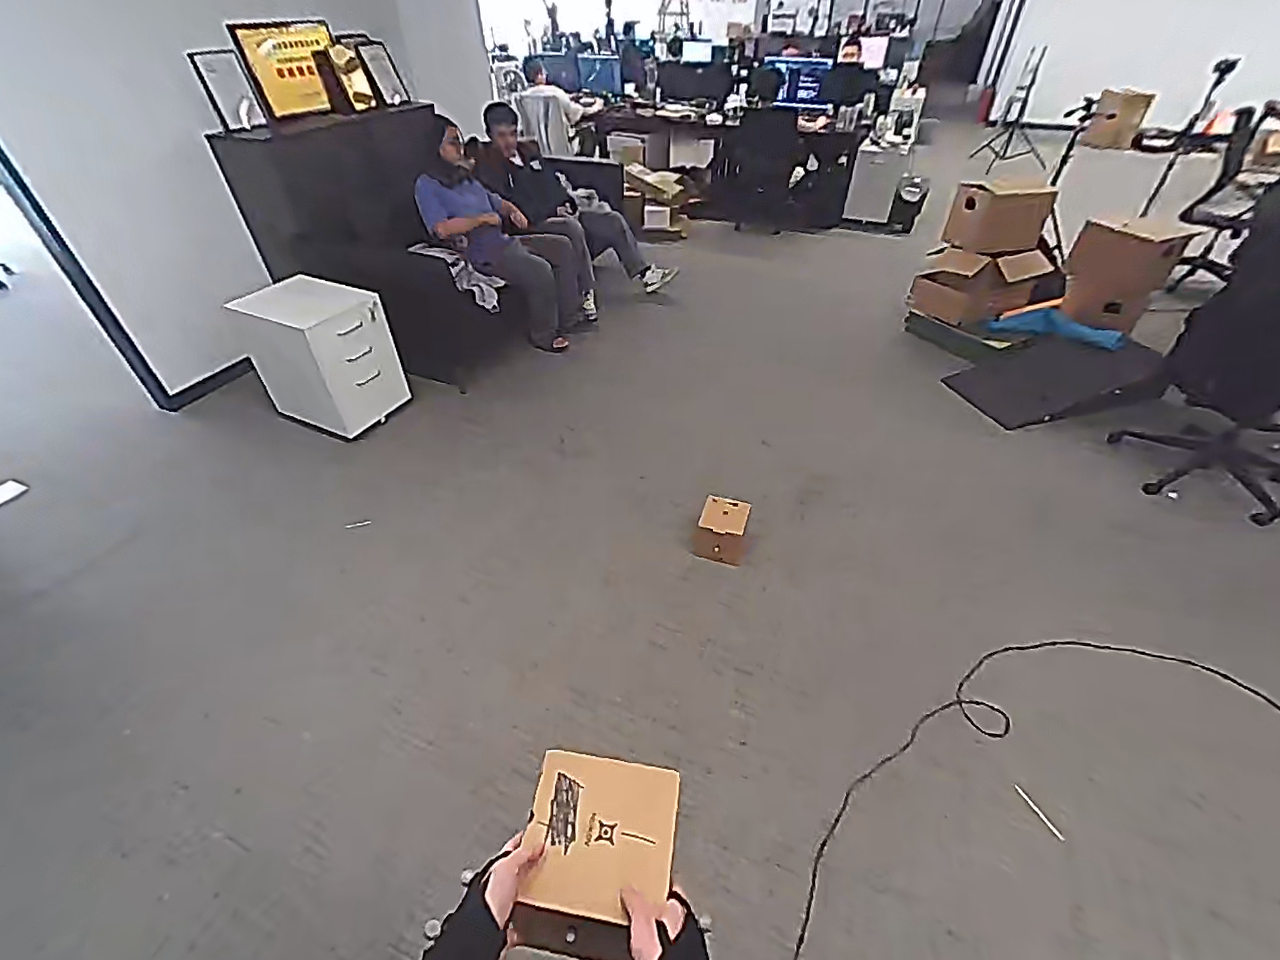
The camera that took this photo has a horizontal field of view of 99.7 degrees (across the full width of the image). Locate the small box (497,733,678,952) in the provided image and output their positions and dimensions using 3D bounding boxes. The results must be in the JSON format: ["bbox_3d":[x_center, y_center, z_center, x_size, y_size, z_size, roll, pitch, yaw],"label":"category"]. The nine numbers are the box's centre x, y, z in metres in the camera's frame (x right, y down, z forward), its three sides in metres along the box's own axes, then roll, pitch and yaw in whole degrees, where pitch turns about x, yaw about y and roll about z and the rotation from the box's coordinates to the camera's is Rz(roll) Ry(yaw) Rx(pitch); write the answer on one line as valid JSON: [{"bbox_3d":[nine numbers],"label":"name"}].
[{"bbox_3d":[-0.055,0.456,0.683,0.179,0.176,0.168,9,39,11],"label":"small box"}]

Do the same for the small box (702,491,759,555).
[{"bbox_3d":[0.339,0.168,2.055,0.179,0.176,0.168,-8,40,-6],"label":"small box"}]
